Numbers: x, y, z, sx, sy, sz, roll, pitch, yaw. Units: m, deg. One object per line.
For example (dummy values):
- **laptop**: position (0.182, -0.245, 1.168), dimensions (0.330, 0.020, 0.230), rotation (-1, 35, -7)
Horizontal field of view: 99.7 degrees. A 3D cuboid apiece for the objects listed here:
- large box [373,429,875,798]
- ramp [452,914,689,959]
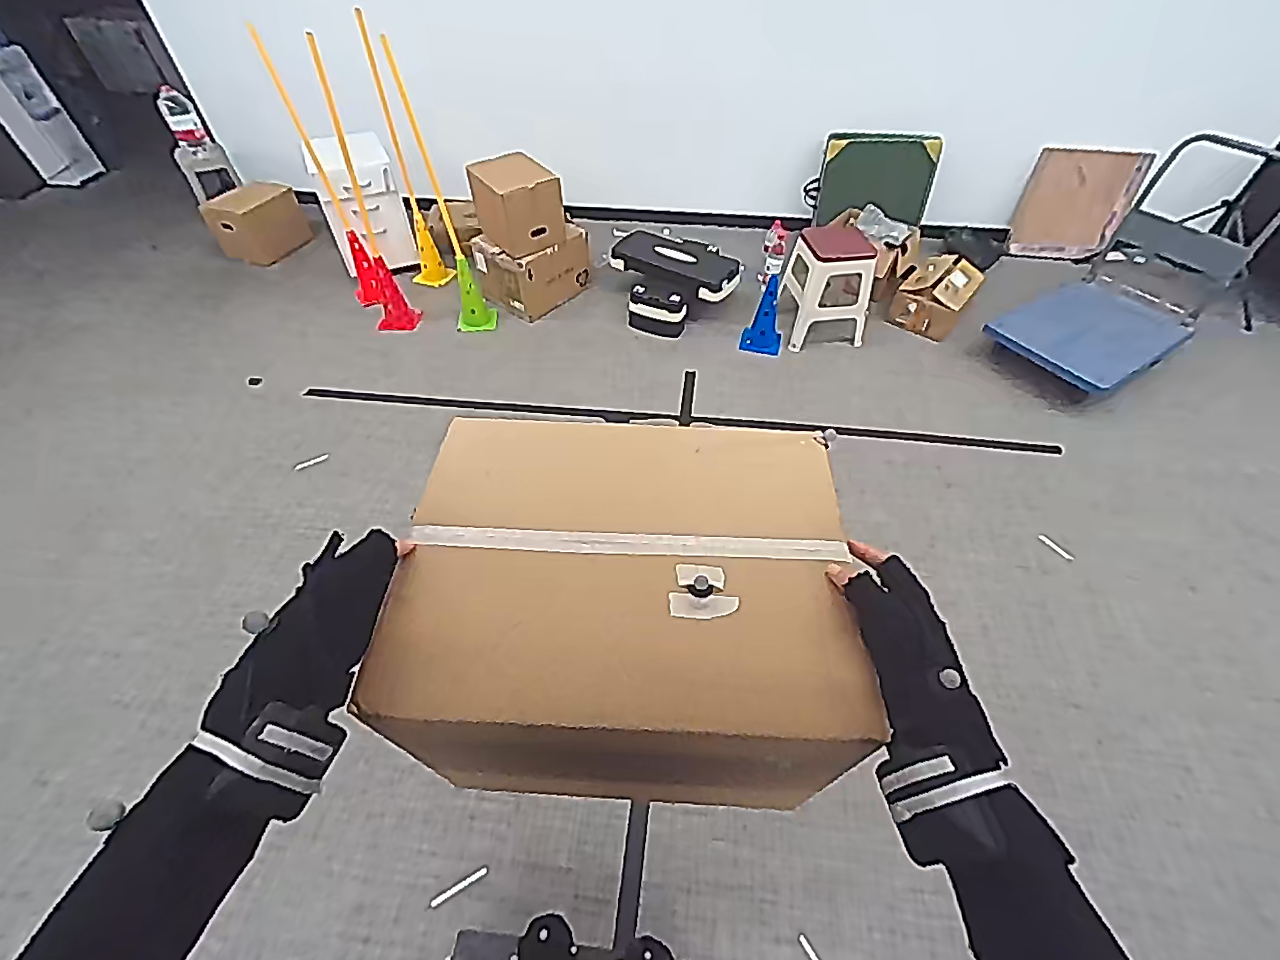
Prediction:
- **large box**: position (-0.012, 0.161, 0.628), dimensions (0.408, 0.320, 0.320), rotation (3, 51, 1)
- **ramp**: position (-0.192, 1.373, 0.889), dimensions (0.509, 0.206, 0.991), rotation (5, 50, 2)
